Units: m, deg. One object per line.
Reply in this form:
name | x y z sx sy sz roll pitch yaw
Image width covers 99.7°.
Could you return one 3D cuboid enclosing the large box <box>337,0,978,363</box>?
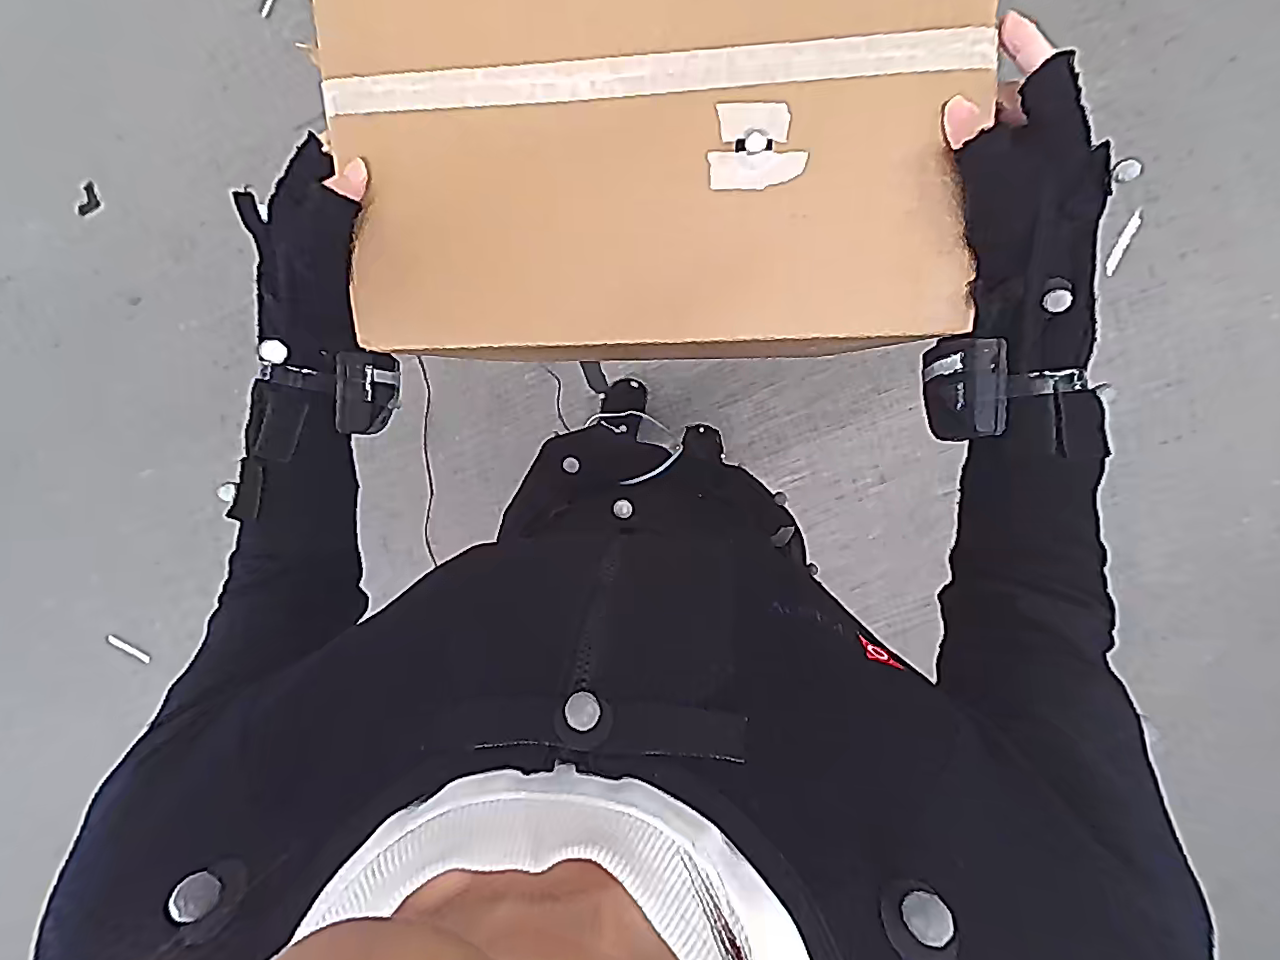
large box | 0.014 -0.278 0.489 0.408 0.320 0.320 -1 101 4
